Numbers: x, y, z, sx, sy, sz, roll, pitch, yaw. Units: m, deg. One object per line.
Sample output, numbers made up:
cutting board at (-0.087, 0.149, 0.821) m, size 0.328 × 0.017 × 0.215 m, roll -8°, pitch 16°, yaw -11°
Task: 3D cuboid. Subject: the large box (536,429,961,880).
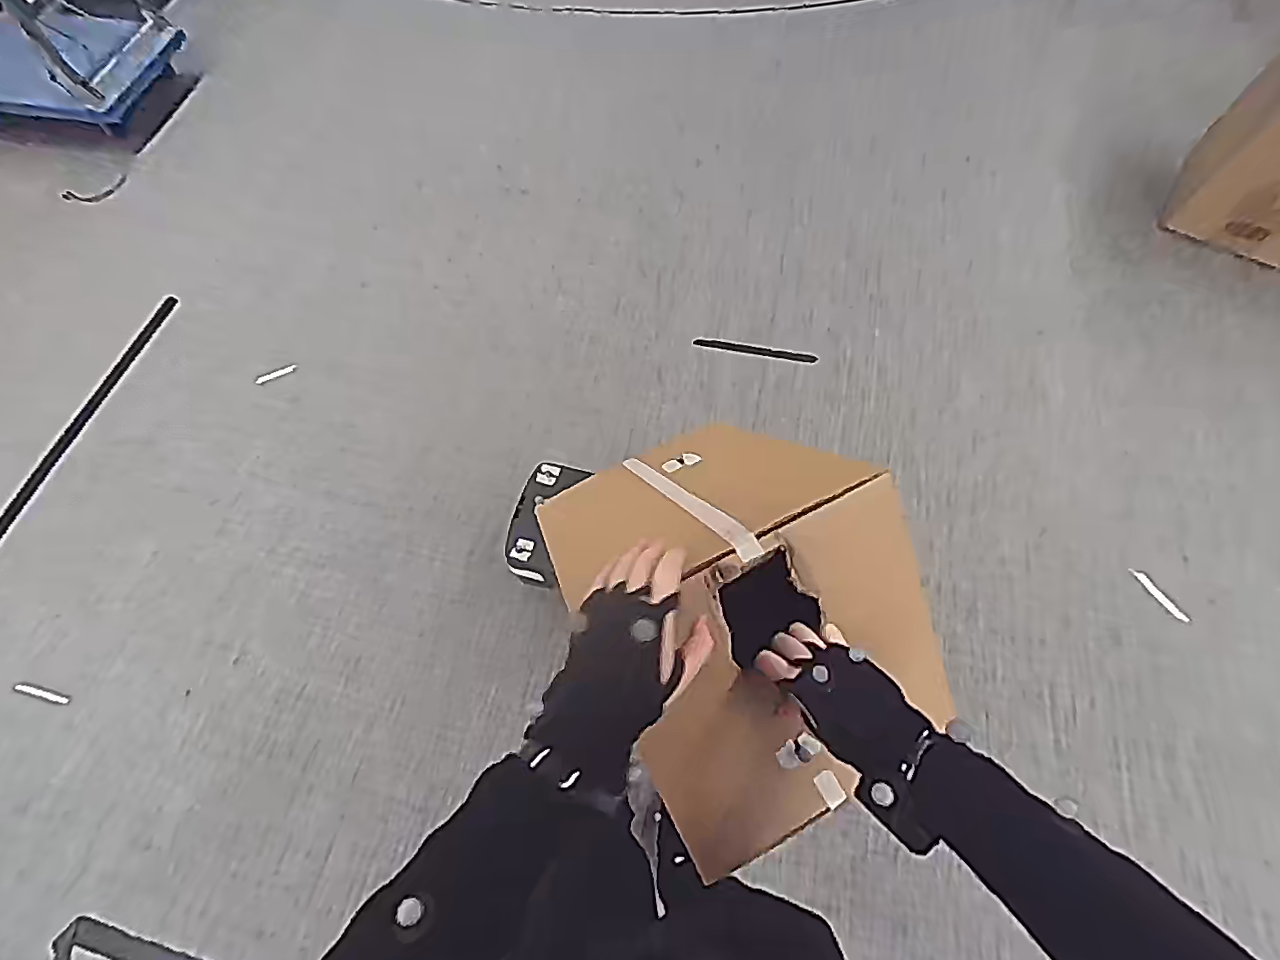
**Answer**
large box at (0.094, 0.154, 0.678) m, size 0.320 × 0.408 × 0.320 m, roll -26°, pitch 106°, yaw -10°
